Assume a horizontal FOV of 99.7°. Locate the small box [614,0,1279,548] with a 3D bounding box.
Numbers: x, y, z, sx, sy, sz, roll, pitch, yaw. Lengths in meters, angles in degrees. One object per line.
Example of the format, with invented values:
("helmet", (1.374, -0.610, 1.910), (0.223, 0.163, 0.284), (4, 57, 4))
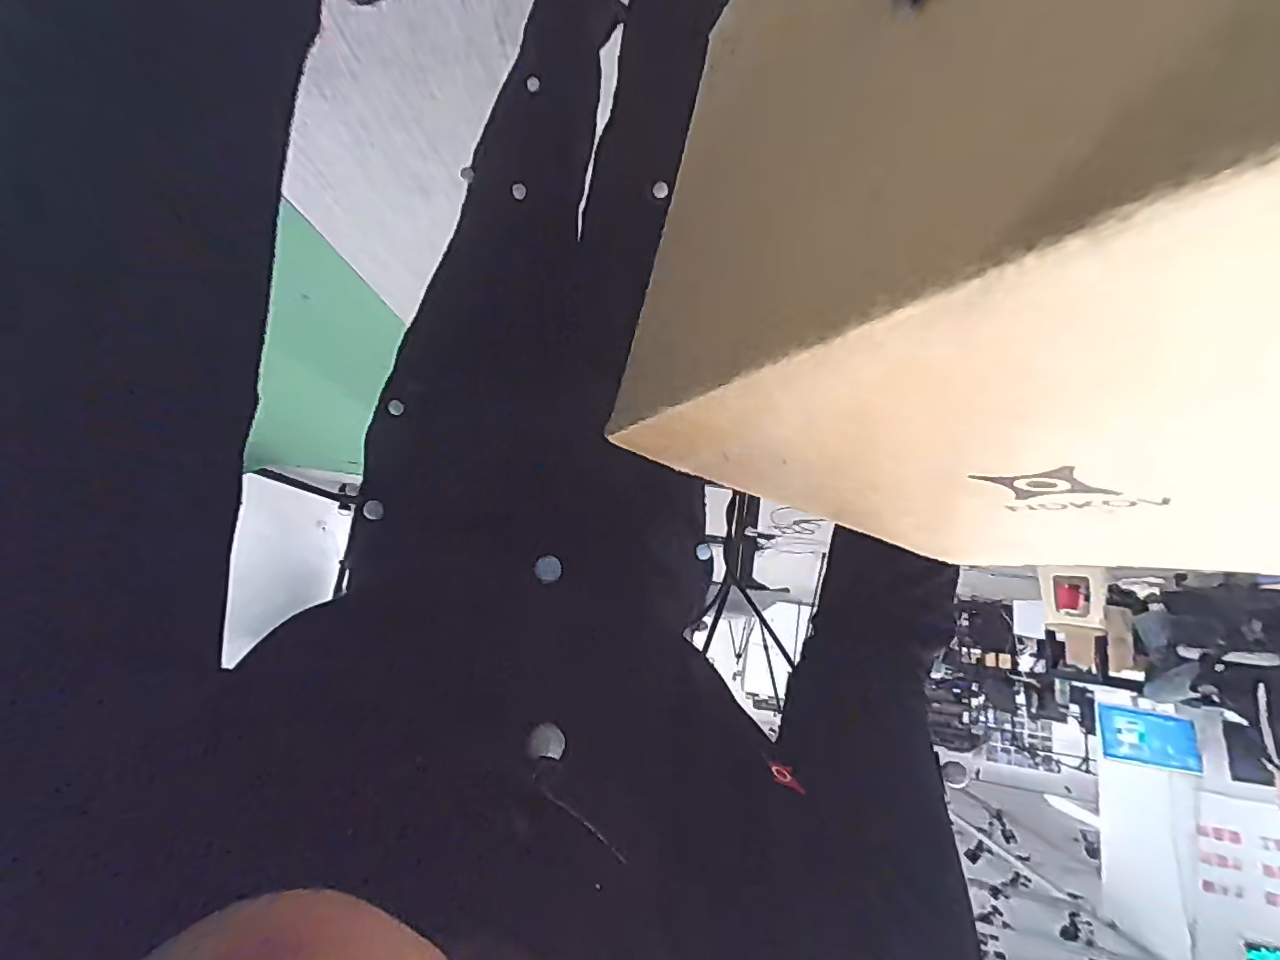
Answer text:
("small box", (0.118, -0.083, 0.155), (0.179, 0.176, 0.168), (18, 165, -24))
